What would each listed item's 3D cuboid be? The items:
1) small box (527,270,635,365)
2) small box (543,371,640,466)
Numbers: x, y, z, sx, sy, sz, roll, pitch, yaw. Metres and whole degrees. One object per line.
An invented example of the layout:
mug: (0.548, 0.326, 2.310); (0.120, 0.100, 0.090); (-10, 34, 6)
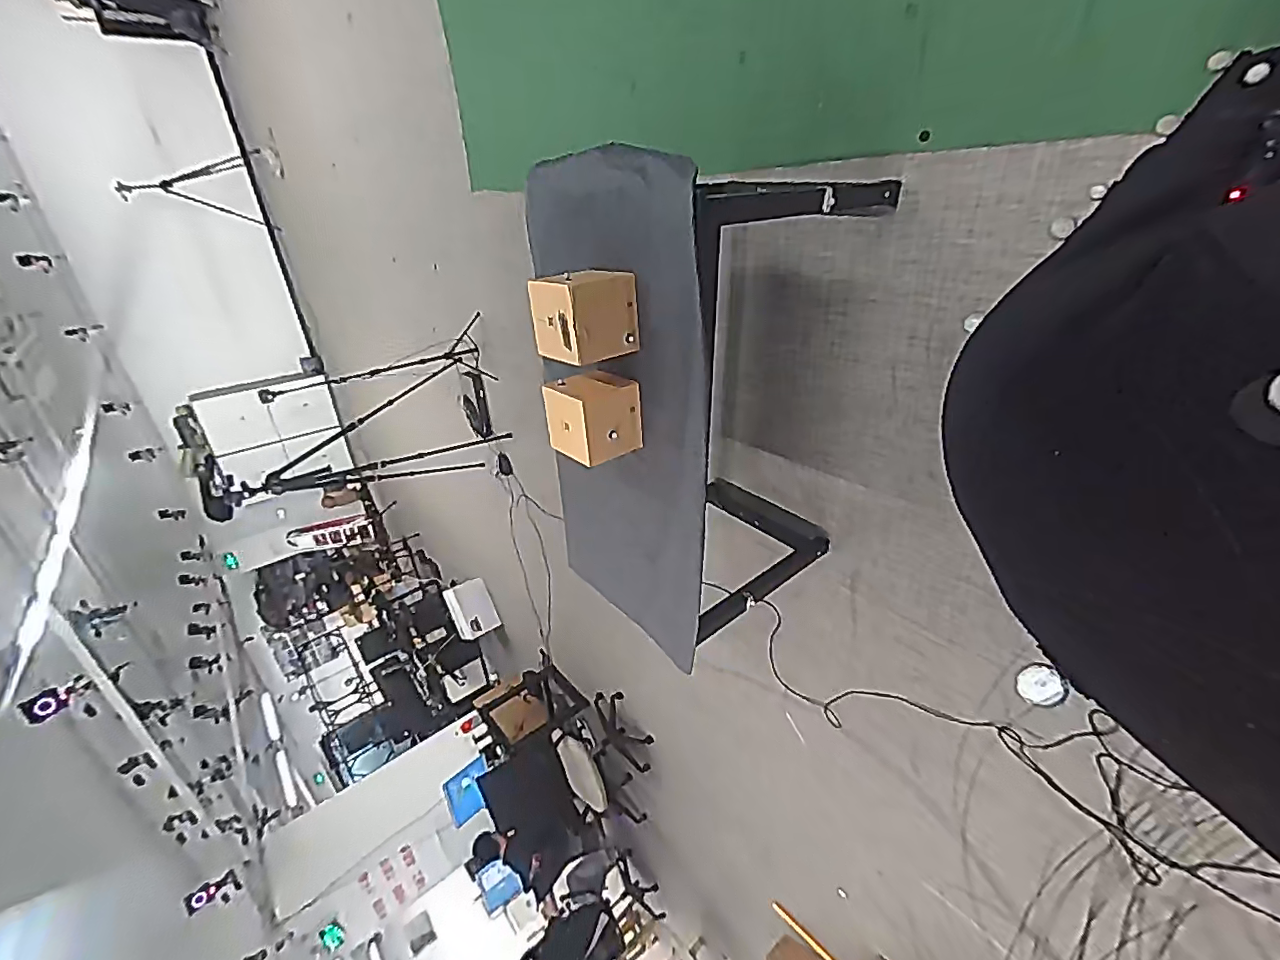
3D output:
small box: (-0.123, -0.366, 1.196); (0.179, 0.176, 0.168); (27, 131, 45)
small box: (-0.111, -0.158, 1.315); (0.179, 0.176, 0.168); (27, 131, 45)
